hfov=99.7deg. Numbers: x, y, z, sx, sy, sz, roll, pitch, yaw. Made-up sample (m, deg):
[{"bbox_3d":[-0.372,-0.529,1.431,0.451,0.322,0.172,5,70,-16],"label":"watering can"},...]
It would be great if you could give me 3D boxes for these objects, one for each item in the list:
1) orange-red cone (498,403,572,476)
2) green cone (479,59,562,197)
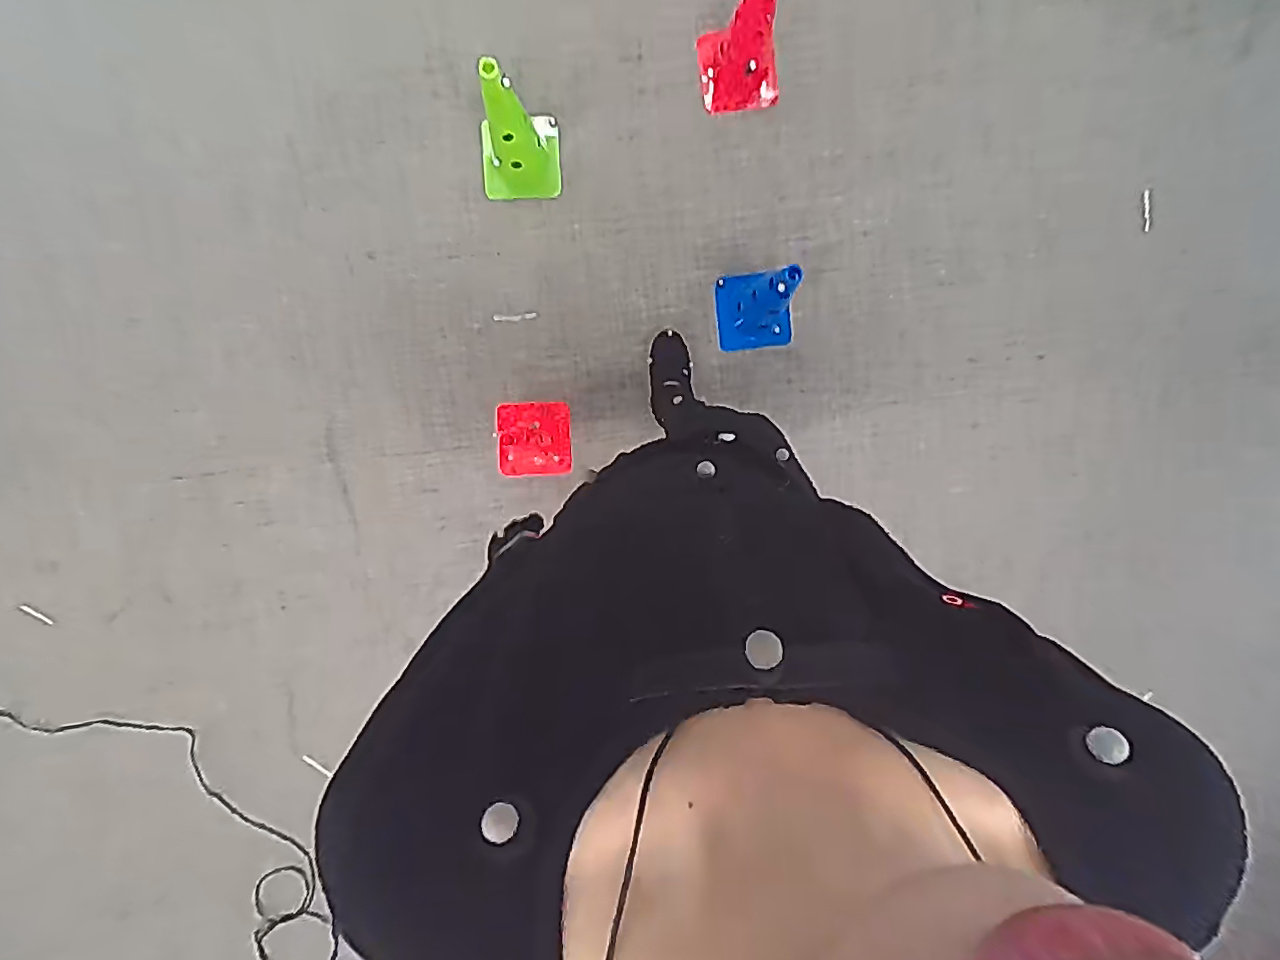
[{"bbox_3d":[-0.276,-0.100,1.299,0.198,0.360,0.199,-1,93,-3],"label":"orange-red cone"},{"bbox_3d":[-0.305,-0.828,1.236,0.200,0.368,0.202,-3,96,-1],"label":"green cone"}]
